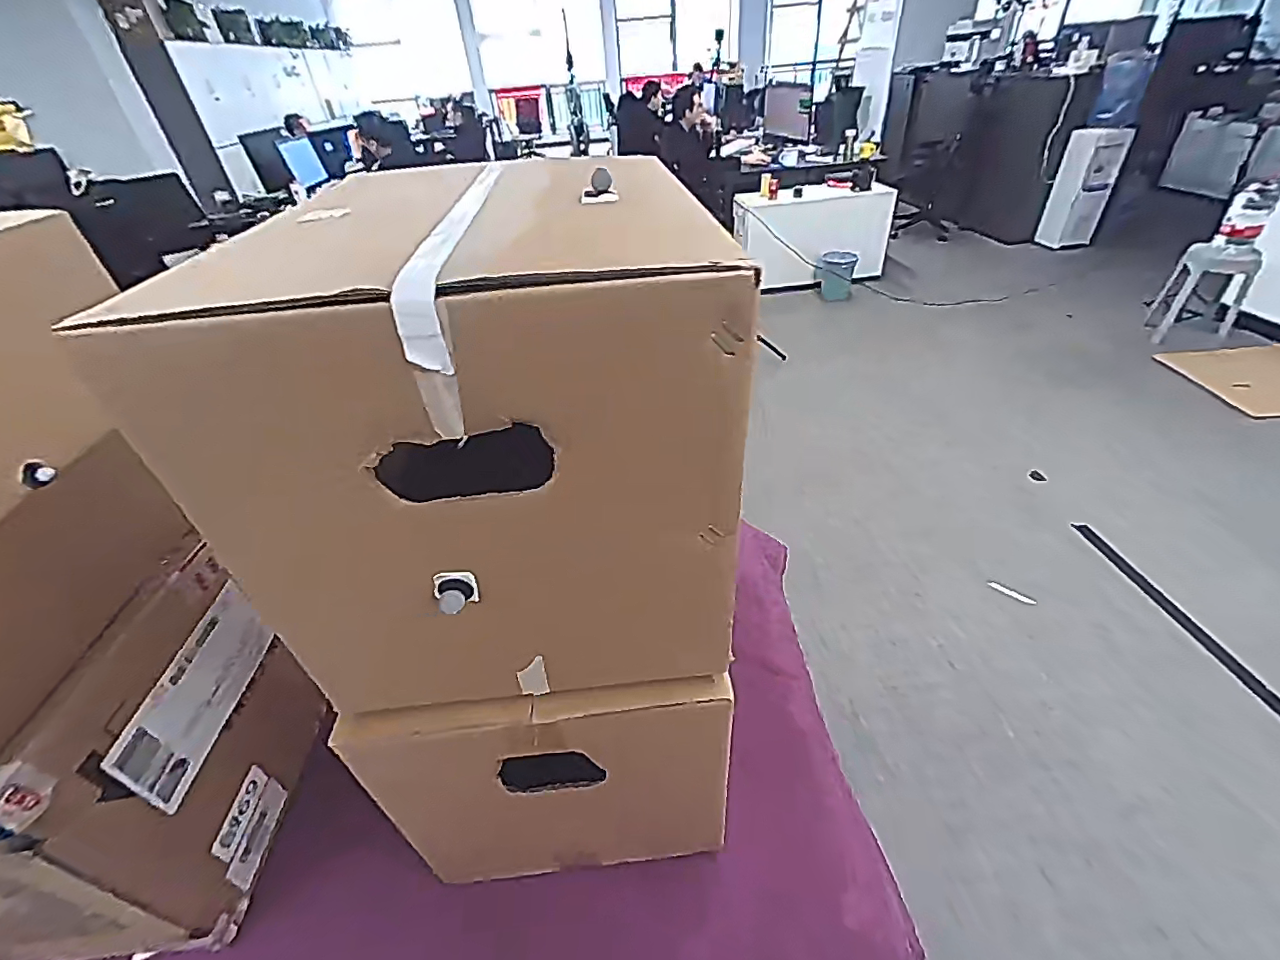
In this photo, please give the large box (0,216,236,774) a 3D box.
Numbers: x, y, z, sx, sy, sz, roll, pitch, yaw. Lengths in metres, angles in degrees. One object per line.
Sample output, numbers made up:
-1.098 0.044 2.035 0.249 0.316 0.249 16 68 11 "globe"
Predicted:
-0.646 0.008 0.440 0.320 0.320 0.408 -8 38 -1 "large box"
